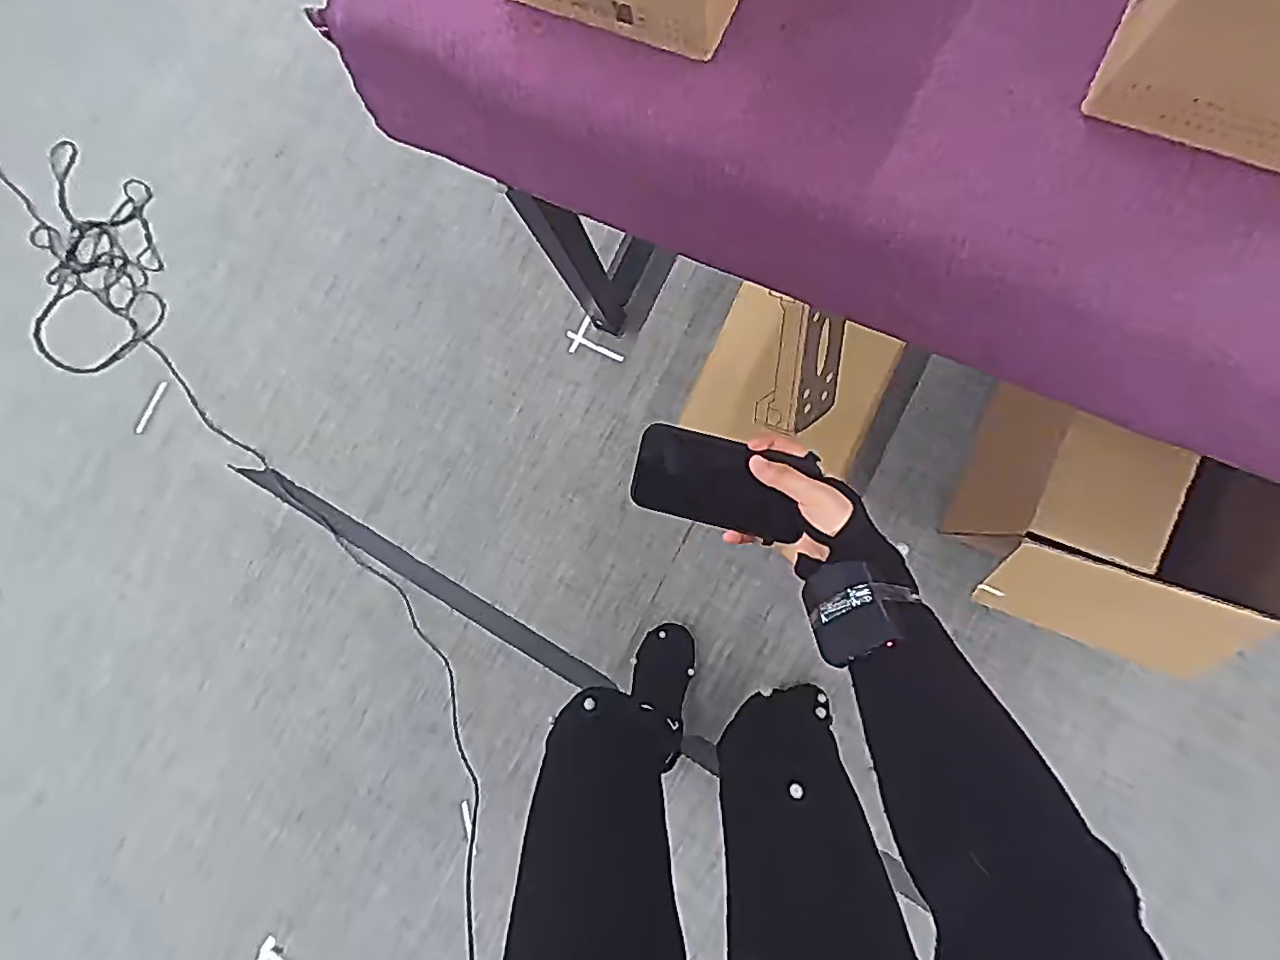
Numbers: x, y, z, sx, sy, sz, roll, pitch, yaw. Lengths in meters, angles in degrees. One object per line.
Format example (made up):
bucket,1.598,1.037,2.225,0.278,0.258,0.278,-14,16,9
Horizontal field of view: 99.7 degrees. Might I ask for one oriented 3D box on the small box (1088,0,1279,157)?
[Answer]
small box,0.362,-0.271,0.232,0.179,0.176,0.168,25,87,10
